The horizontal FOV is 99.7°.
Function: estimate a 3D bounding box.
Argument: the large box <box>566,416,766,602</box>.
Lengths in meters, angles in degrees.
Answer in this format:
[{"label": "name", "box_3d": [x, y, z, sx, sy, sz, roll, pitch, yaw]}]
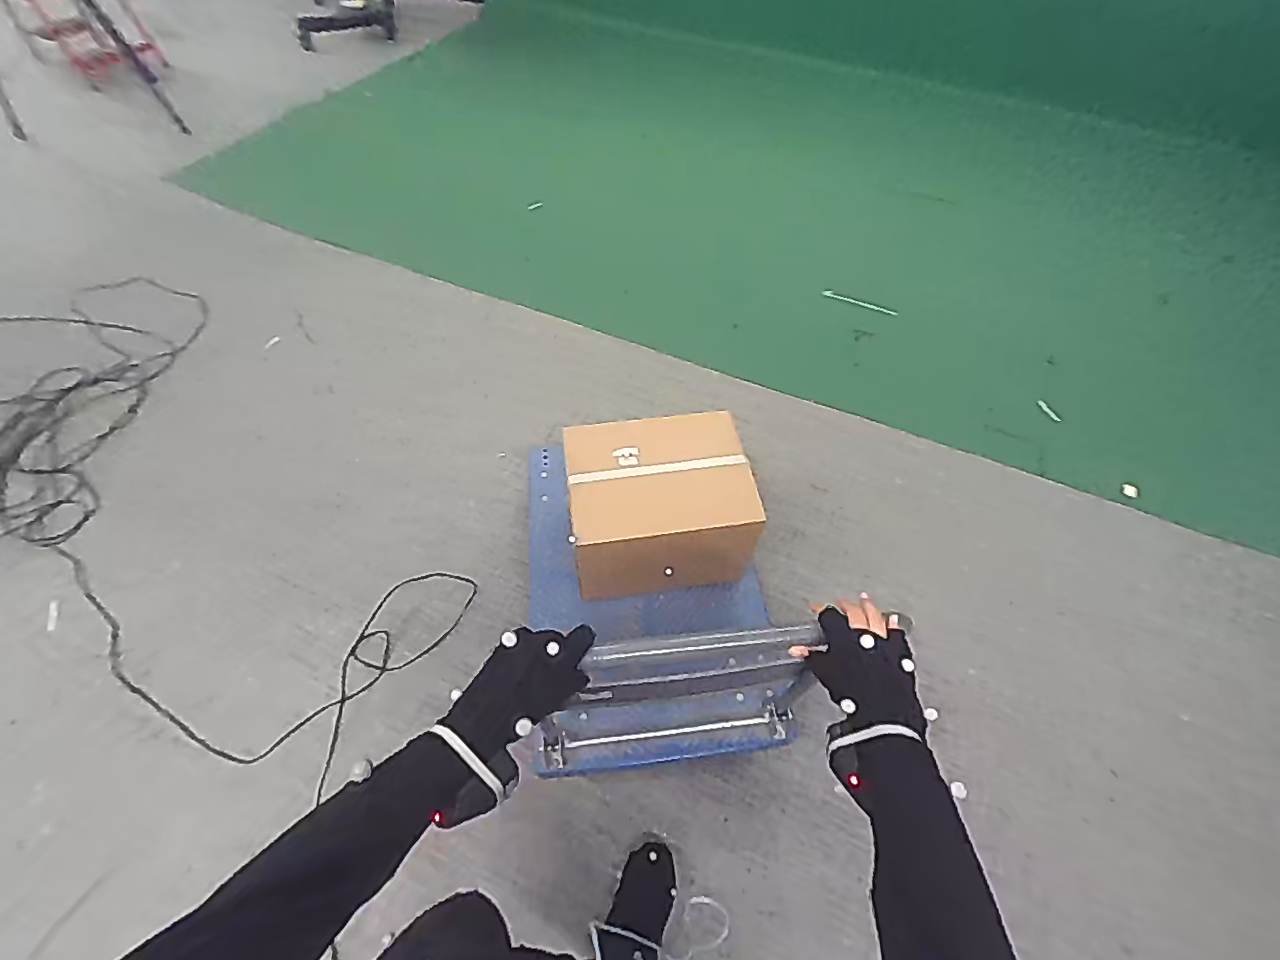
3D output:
[{"label": "large box", "box_3d": [0.046, 0.076, 1.323, 0.408, 0.320, 0.320, -7, 55, -6]}]
